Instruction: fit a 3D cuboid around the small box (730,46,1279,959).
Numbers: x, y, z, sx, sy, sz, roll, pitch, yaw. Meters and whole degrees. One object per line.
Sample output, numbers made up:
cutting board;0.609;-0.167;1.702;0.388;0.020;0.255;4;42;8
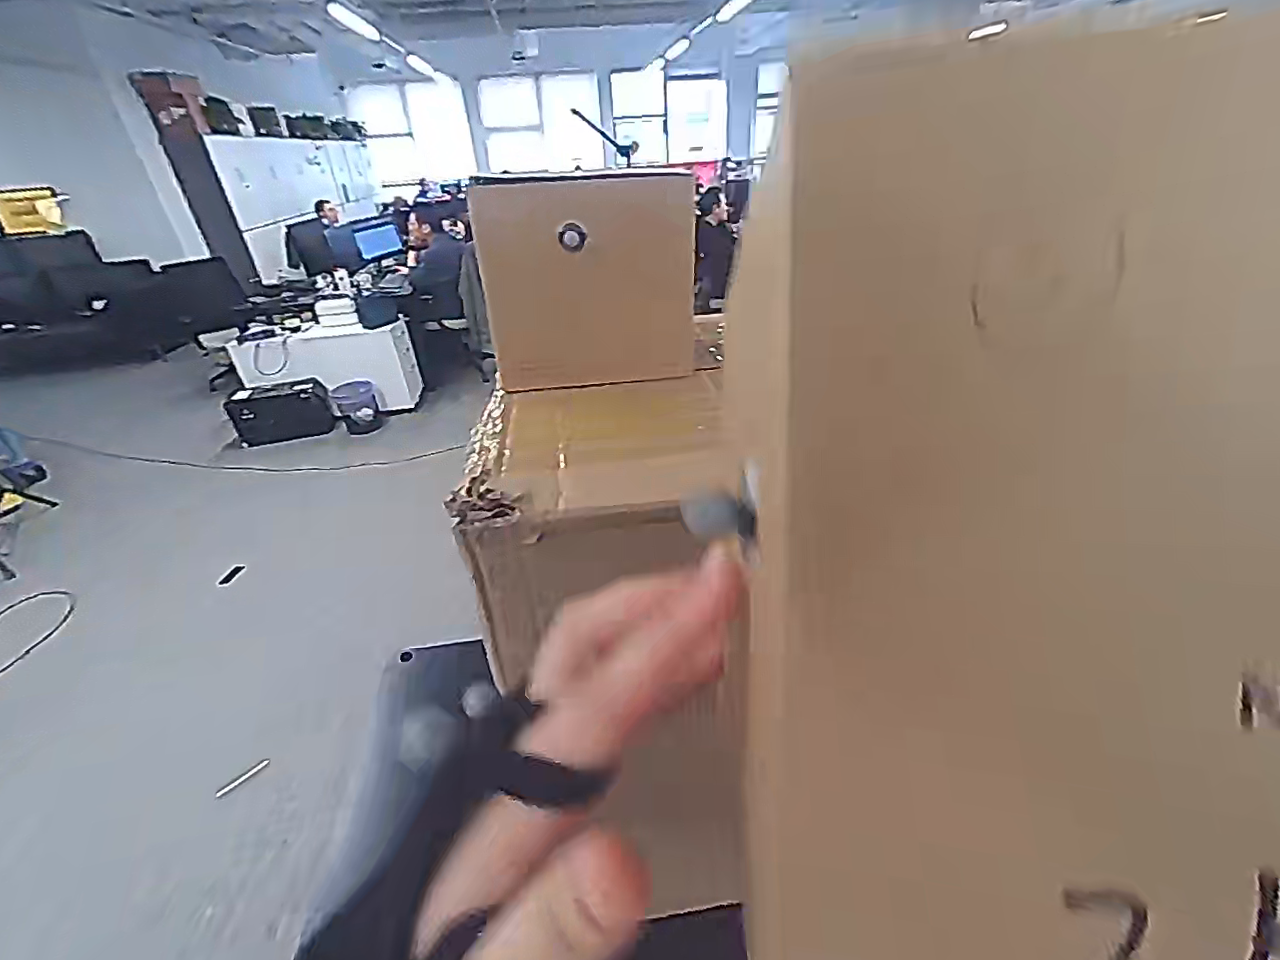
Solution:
small box;0.114;0.021;0.158;0.168;0.179;0.176;1;4;7

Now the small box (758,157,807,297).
small box;0.222;-0.234;0.549;0.168;0.176;0.179;-6;30;-1

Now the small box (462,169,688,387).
small box;-0.054;-0.195;0.518;0.179;0.176;0.168;-6;31;-6
